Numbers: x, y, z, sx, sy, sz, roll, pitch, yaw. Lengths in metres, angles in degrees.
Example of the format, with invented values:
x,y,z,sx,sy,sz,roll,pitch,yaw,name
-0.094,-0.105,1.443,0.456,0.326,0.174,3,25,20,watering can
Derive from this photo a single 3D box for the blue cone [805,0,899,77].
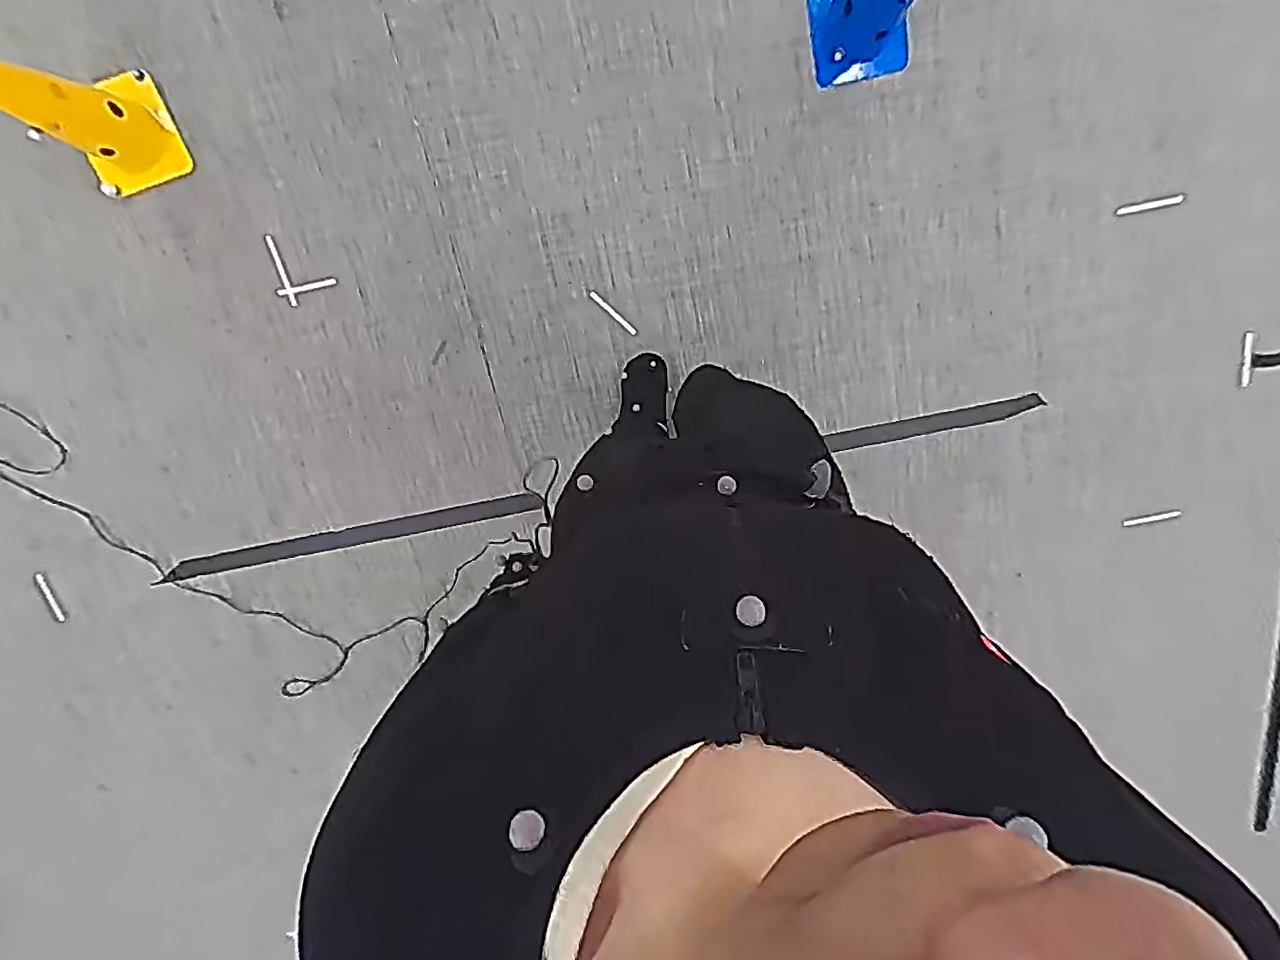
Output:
x,y,z,sx,sy,sz,roll,pitch,yaw,name
0.450,-0.917,0.966,0.193,0.380,0.192,-11,104,1,blue cone
